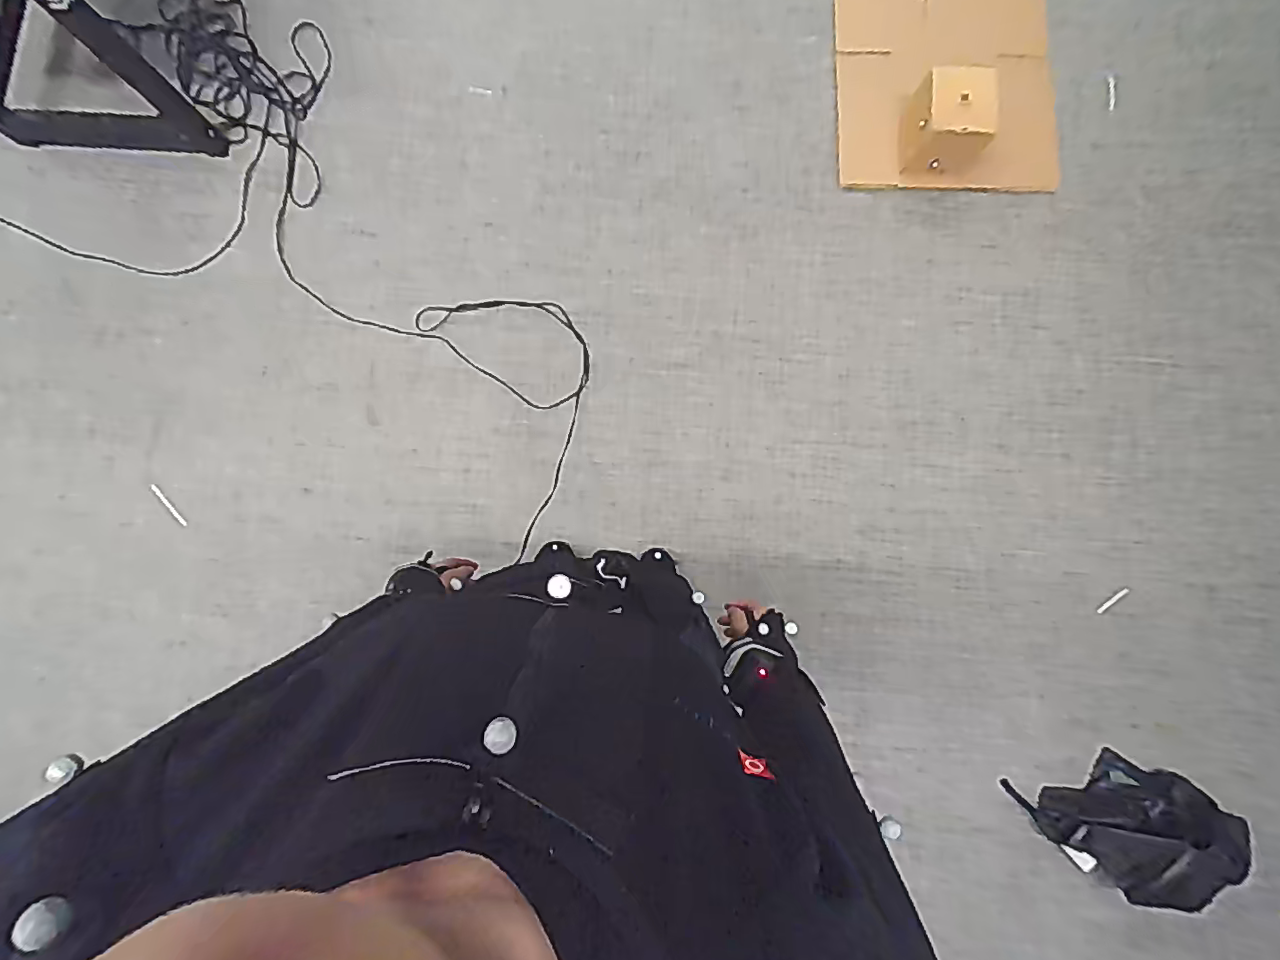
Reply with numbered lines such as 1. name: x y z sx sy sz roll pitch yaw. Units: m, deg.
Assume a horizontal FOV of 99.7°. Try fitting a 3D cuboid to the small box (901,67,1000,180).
1. small box: 0.797 -0.920 1.402 0.168 0.176 0.179 3 84 0
